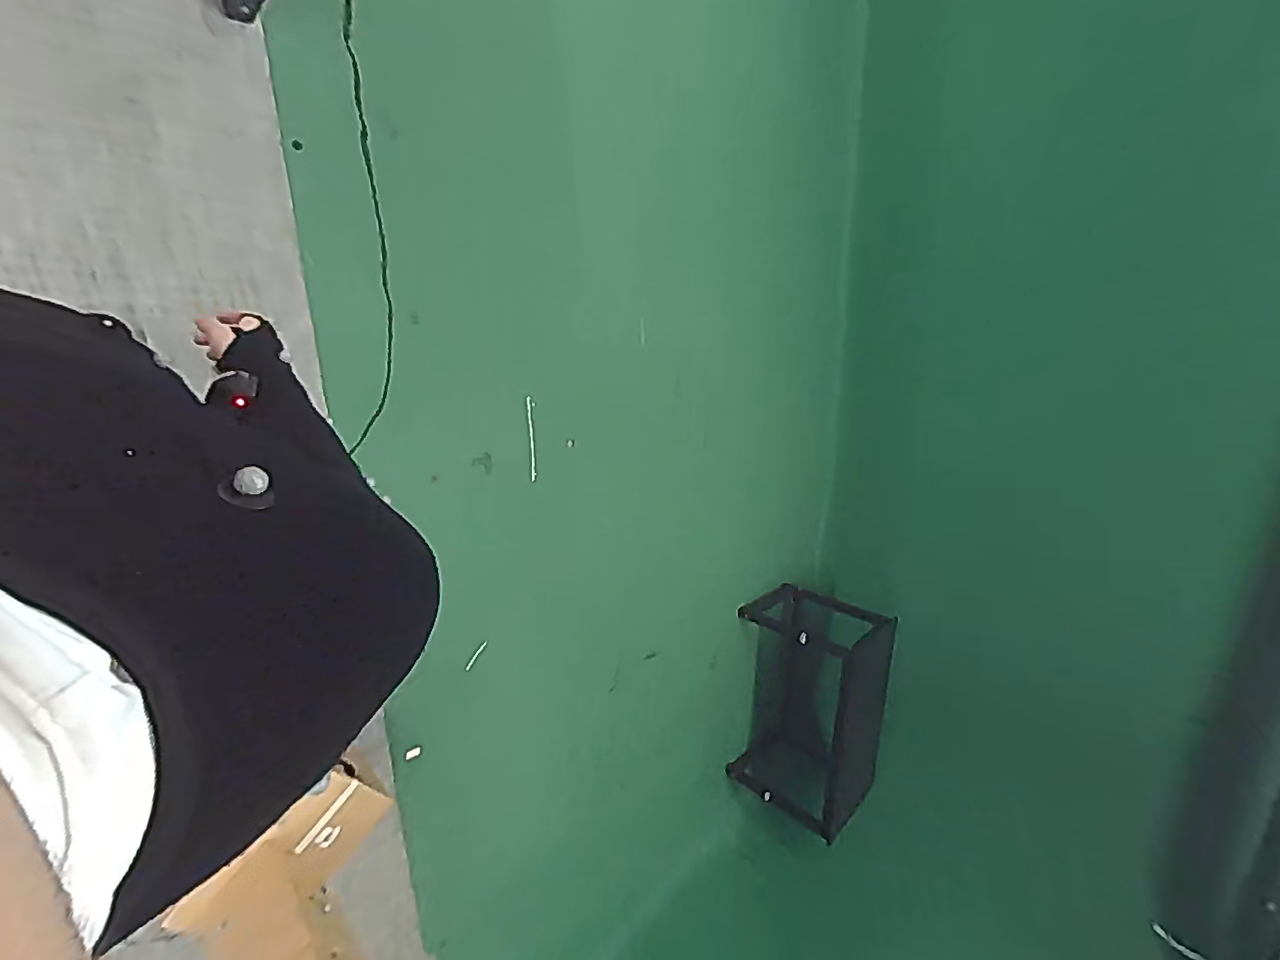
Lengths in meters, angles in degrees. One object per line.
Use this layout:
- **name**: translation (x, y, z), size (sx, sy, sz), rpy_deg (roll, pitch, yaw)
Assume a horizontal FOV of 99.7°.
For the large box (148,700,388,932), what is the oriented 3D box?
- **large box**: translation (-0.992, 0.897, 1.462), size (0.408, 0.320, 0.320), rpy_deg (-52, 134, -25)
